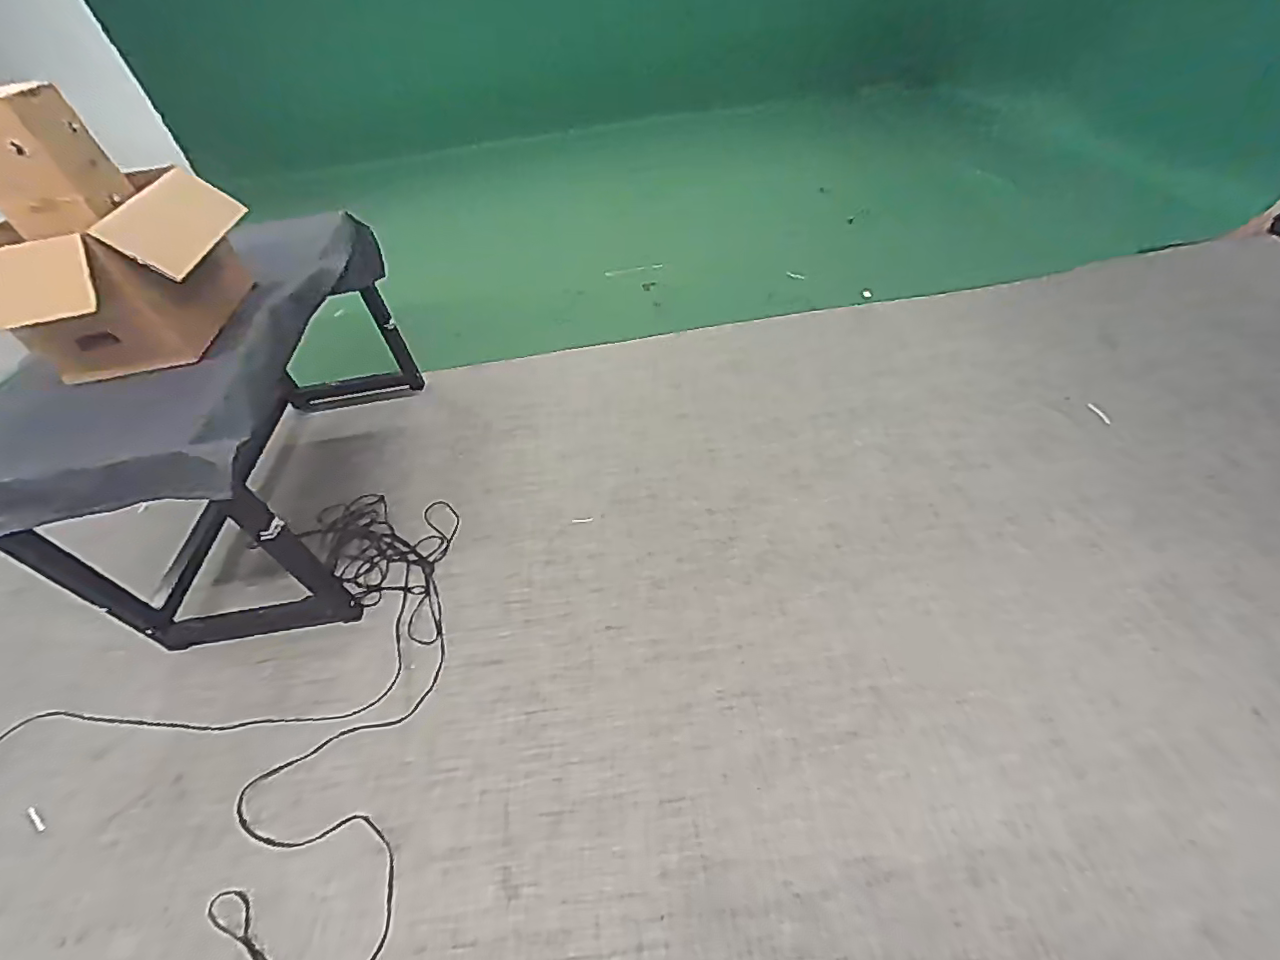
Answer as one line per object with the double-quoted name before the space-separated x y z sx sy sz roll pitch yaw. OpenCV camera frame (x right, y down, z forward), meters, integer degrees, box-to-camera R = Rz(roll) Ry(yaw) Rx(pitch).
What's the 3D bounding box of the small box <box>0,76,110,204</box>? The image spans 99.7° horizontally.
"small box" -1.249 -0.683 1.090 0.179 0.176 0.168 -13 46 -3
